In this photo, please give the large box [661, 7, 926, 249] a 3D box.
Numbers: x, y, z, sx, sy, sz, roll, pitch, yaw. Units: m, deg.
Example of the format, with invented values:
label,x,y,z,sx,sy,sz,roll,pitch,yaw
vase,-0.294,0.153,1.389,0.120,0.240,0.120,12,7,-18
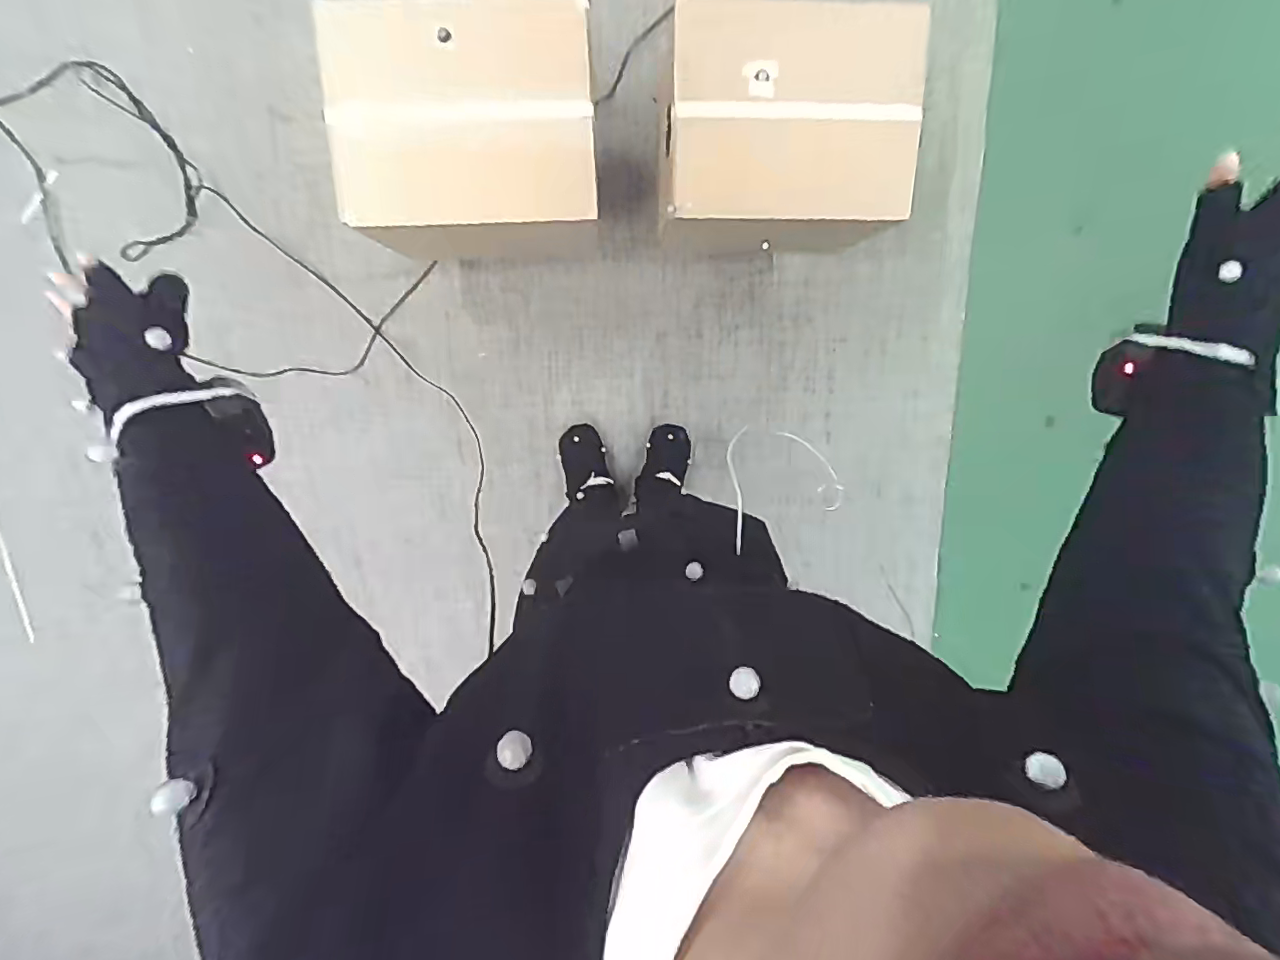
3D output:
label,x,y,z,sx,sy,sz,roll,pitch,yaw
large box,0.253,-0.626,1.027,0.408,0.320,0.320,0,103,-3
